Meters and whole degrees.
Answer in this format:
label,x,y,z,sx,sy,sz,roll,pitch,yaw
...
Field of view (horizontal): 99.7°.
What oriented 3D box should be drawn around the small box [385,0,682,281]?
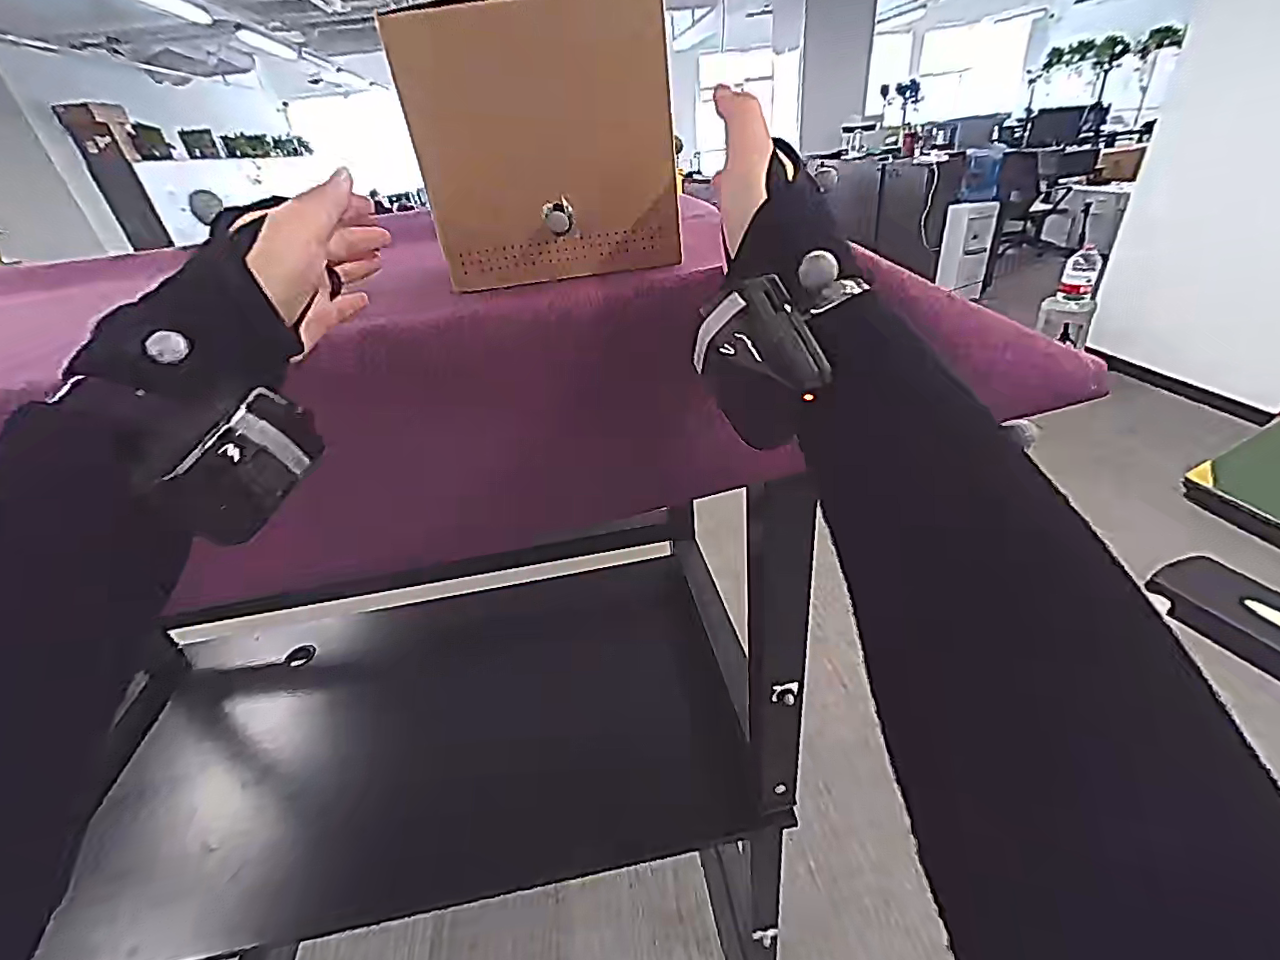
label,x,y,z,sx,sy,sz,roll,pitch,yaw
small box,-0.062,-0.267,0.428,0.179,0.176,0.168,-7,31,0
